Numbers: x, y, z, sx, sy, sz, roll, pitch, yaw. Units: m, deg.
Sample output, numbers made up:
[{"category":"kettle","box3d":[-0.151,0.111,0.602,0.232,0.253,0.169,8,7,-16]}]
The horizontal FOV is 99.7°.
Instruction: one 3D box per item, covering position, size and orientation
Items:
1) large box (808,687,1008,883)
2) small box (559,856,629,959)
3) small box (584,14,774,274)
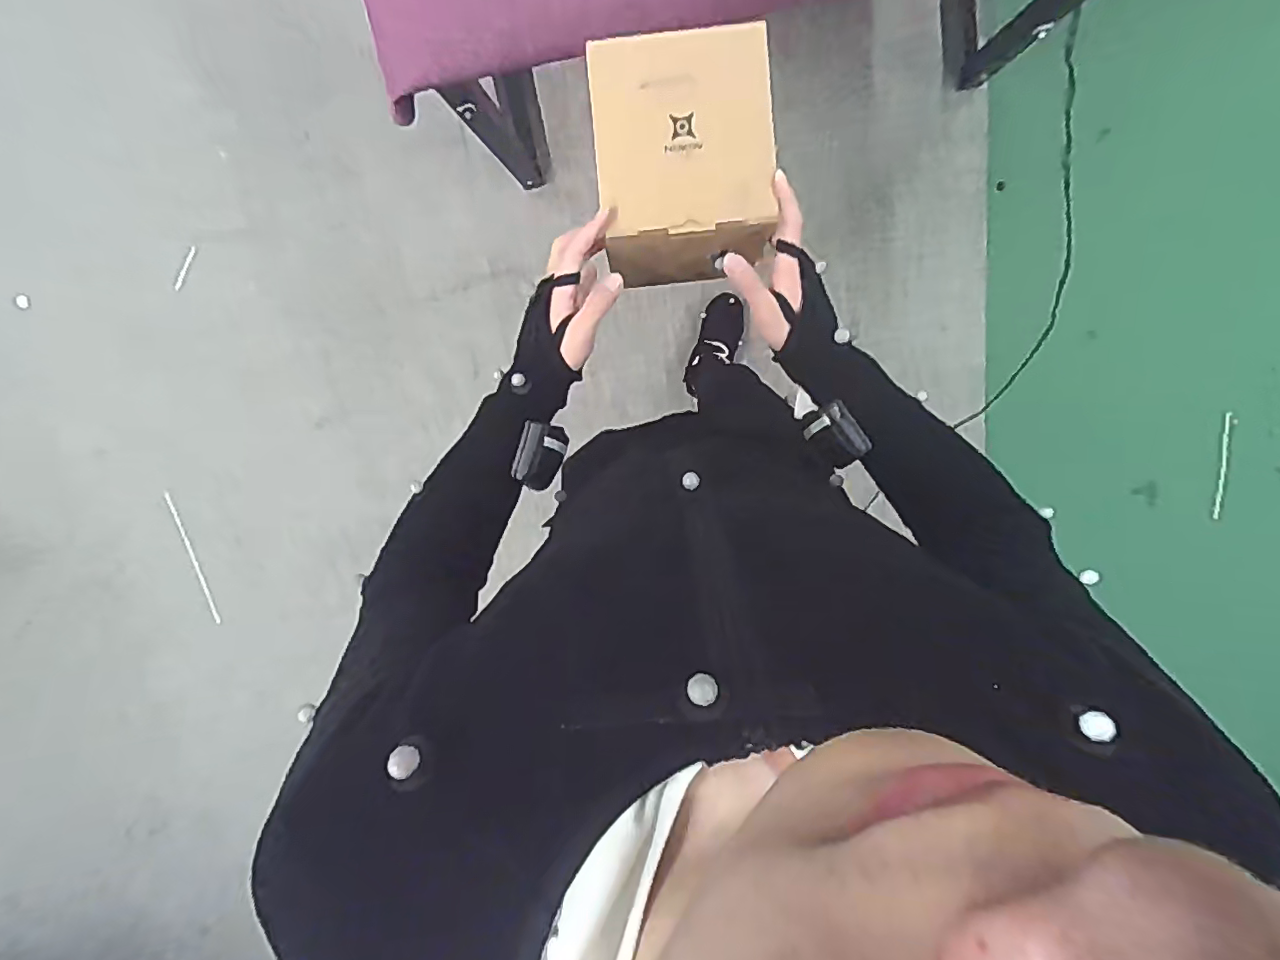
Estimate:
[{"category":"large box","box3d":[0.812,0.948,1.699,0.408,0.320,0.320,-41,100,11]},{"category":"small box","box3d":[-0.127,1.243,1.564,0.168,0.176,0.179,12,103,0]},{"category":"small box","box3d":[0.039,-0.329,0.570,0.168,0.176,0.179,-5,93,1]}]
